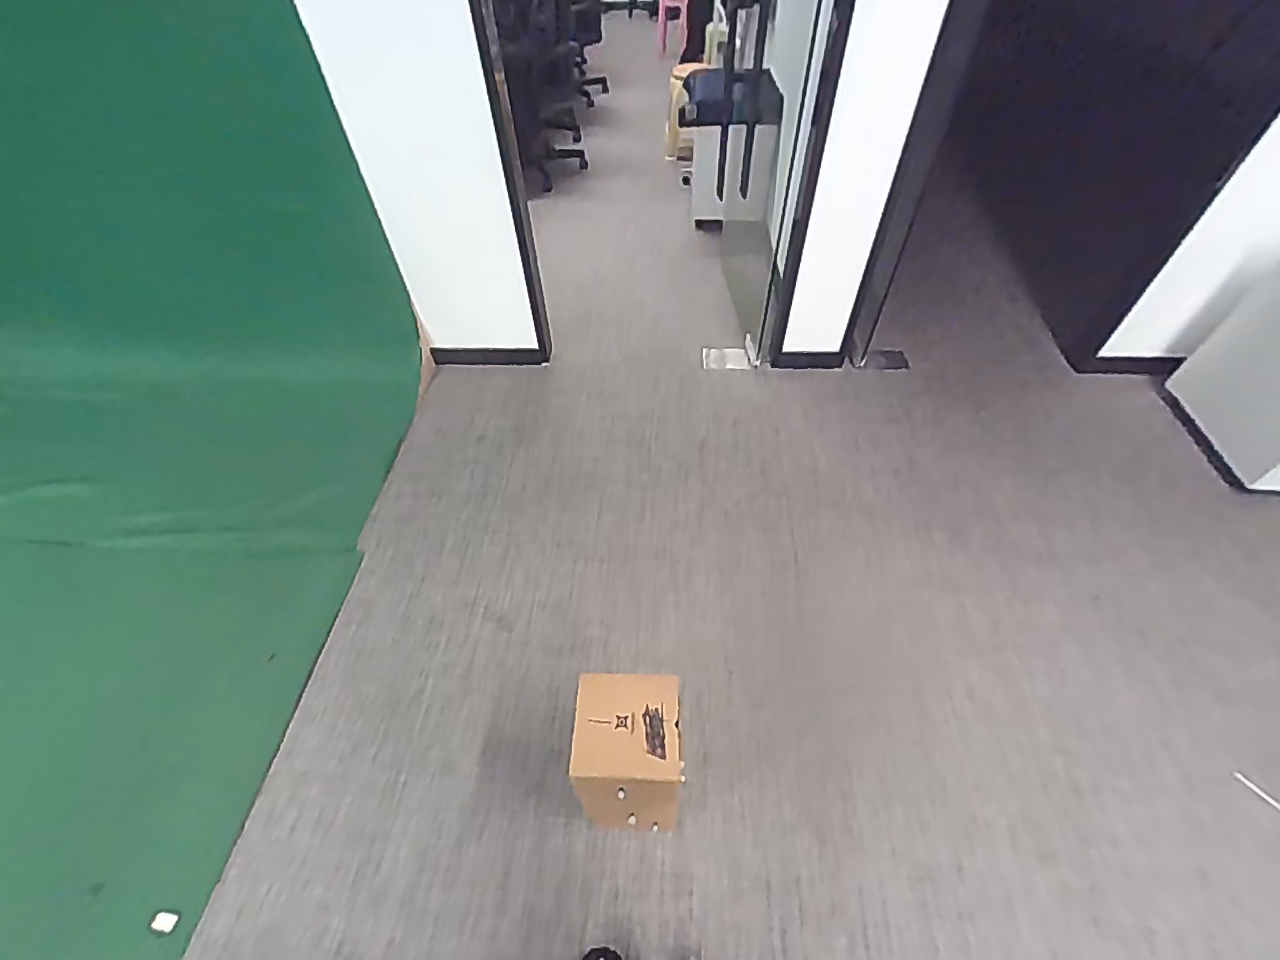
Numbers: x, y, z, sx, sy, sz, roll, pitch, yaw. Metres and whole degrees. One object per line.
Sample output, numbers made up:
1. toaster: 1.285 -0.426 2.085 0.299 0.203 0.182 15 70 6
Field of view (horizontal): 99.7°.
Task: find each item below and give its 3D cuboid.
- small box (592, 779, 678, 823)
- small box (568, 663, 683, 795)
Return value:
1. small box: -0.004 0.656 1.208 0.179 0.176 0.168 0 49 4
2. small box: -0.019 0.443 0.955 0.179 0.176 0.168 3 48 5
